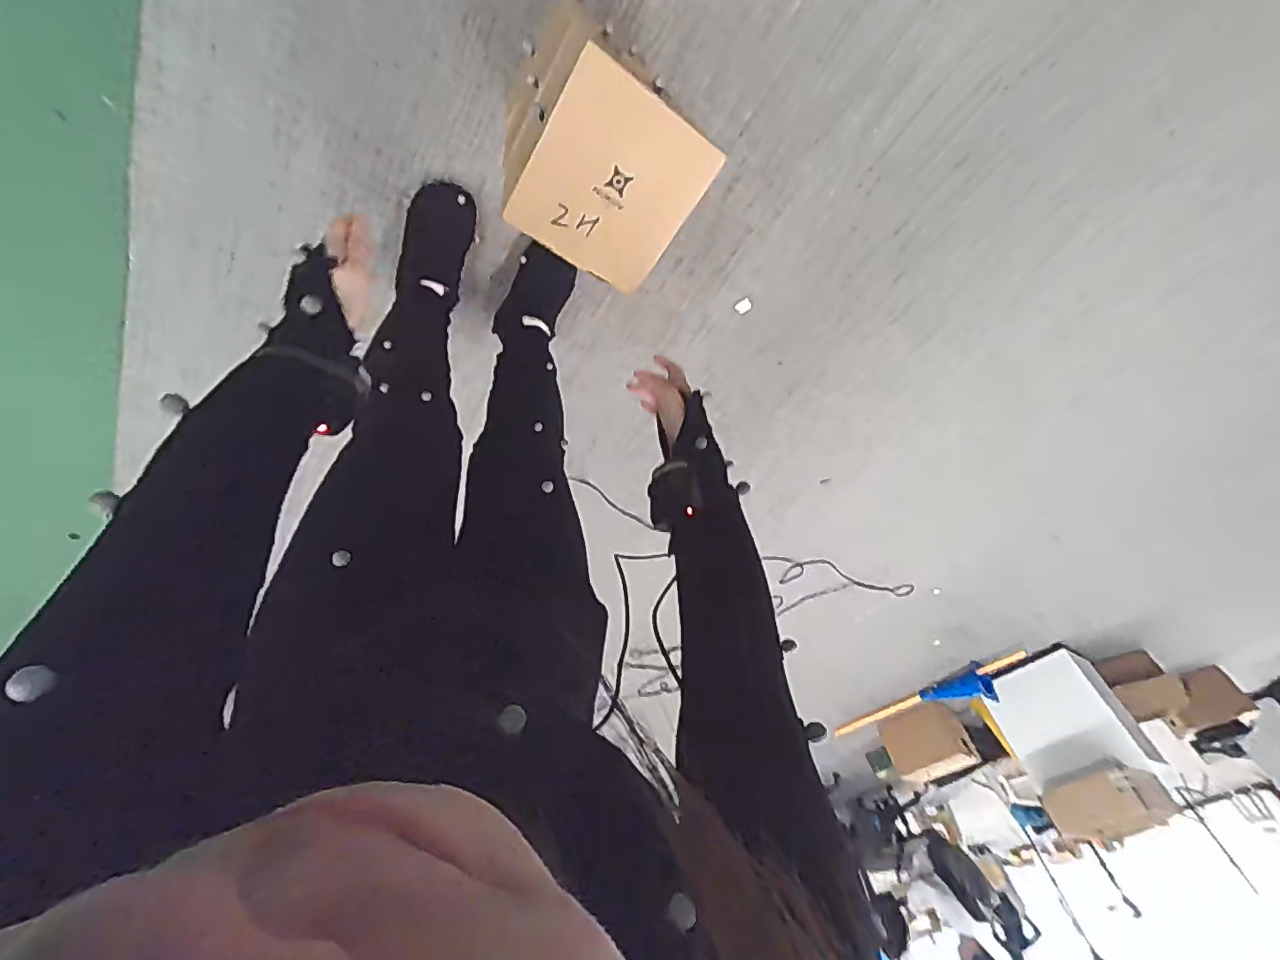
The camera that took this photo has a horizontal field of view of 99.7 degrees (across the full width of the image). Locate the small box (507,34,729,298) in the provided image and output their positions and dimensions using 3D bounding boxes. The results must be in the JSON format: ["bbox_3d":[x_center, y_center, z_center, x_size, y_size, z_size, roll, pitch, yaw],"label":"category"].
[{"bbox_3d":[-0.035,-0.346,0.598,0.168,0.176,0.179,23,125,-28],"label":"small box"}]

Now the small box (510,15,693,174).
[{"bbox_3d":[-0.059,-0.463,0.712,0.168,0.176,0.179,22,127,-28],"label":"small box"}]

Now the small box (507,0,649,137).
[{"bbox_3d":[-0.084,-0.578,0.824,0.168,0.176,0.179,25,125,-31],"label":"small box"}]
